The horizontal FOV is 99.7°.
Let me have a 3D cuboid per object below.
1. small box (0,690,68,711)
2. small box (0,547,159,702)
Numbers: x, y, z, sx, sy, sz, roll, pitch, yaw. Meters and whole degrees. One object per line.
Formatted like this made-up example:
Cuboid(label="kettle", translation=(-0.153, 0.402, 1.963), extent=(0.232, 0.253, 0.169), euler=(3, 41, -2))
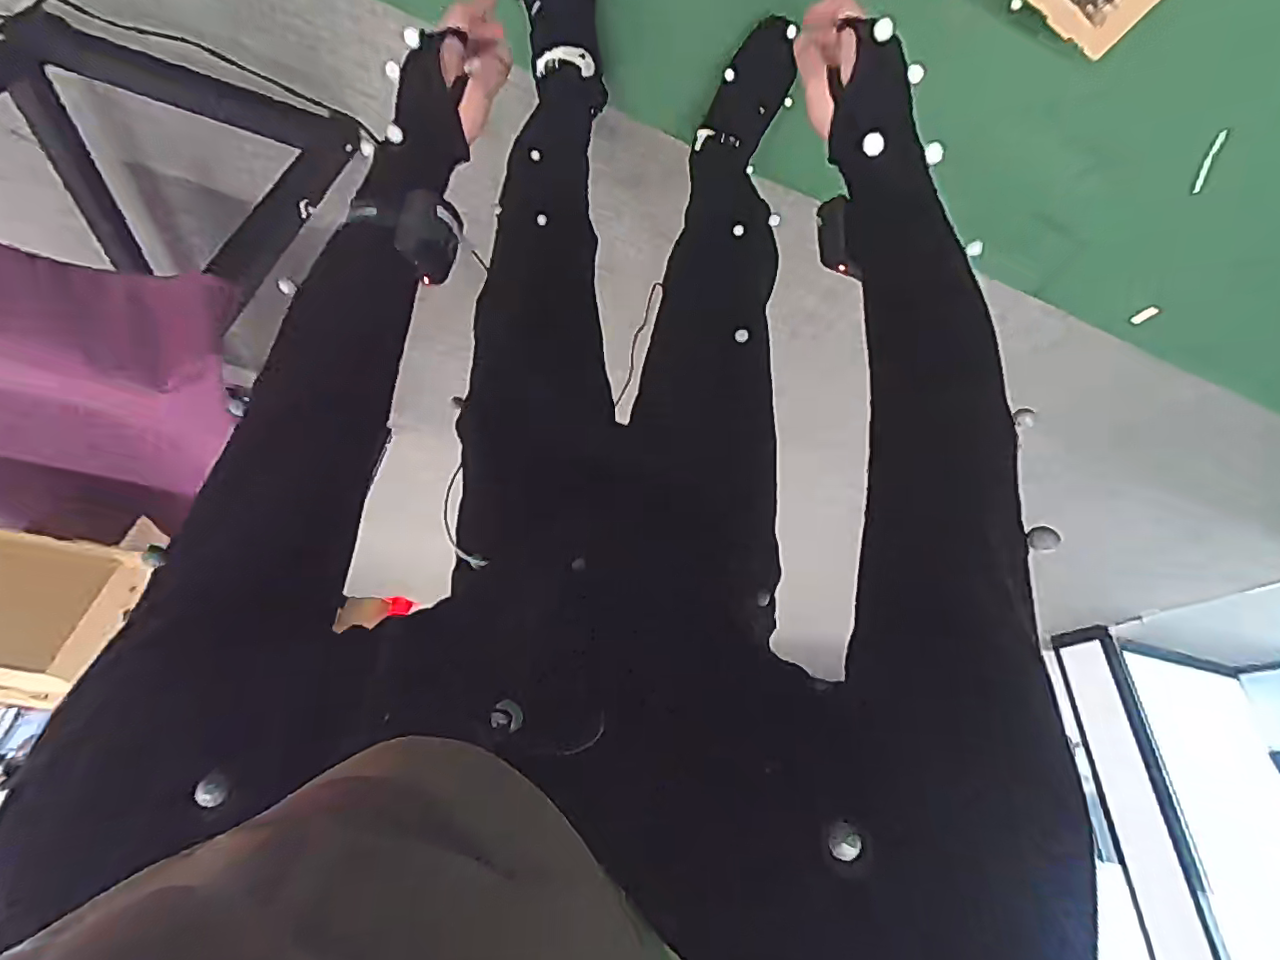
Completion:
Cuboid(label="small box", translation=(-1.106, 0.292, 0.947), extent=(0.179, 0.176, 0.168), euler=(14, 144, -11))
Cuboid(label="small box", translation=(-0.892, 0.216, 0.810), extent=(0.179, 0.176, 0.168), euler=(13, 145, -12))
